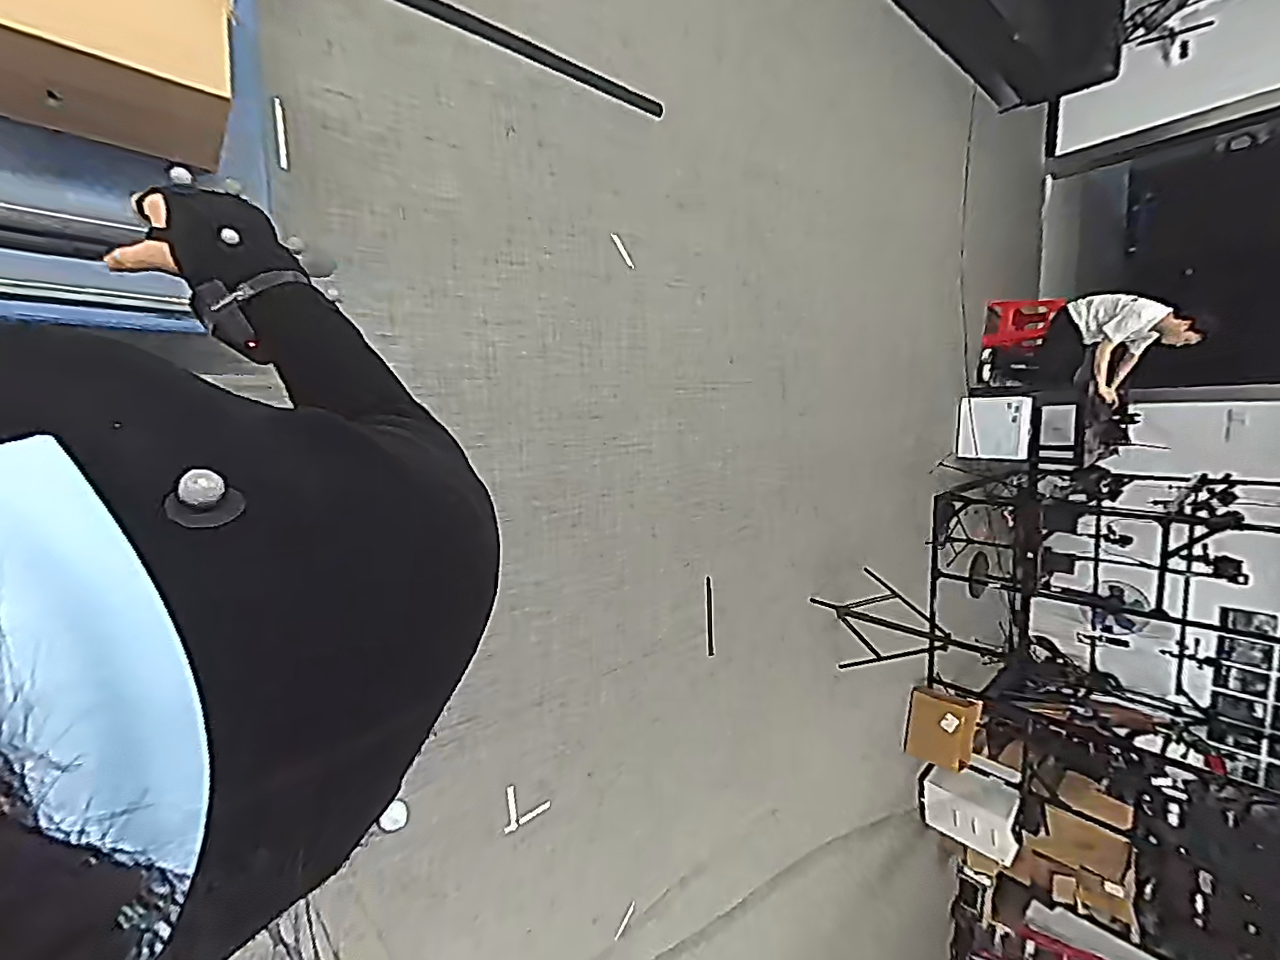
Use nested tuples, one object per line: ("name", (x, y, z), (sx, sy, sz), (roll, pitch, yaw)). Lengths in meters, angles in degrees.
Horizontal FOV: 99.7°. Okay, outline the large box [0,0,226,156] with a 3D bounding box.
("large box", (-0.866, -0.733, 0.775), (0.408, 0.320, 0.320), (-5, 97, -41))
